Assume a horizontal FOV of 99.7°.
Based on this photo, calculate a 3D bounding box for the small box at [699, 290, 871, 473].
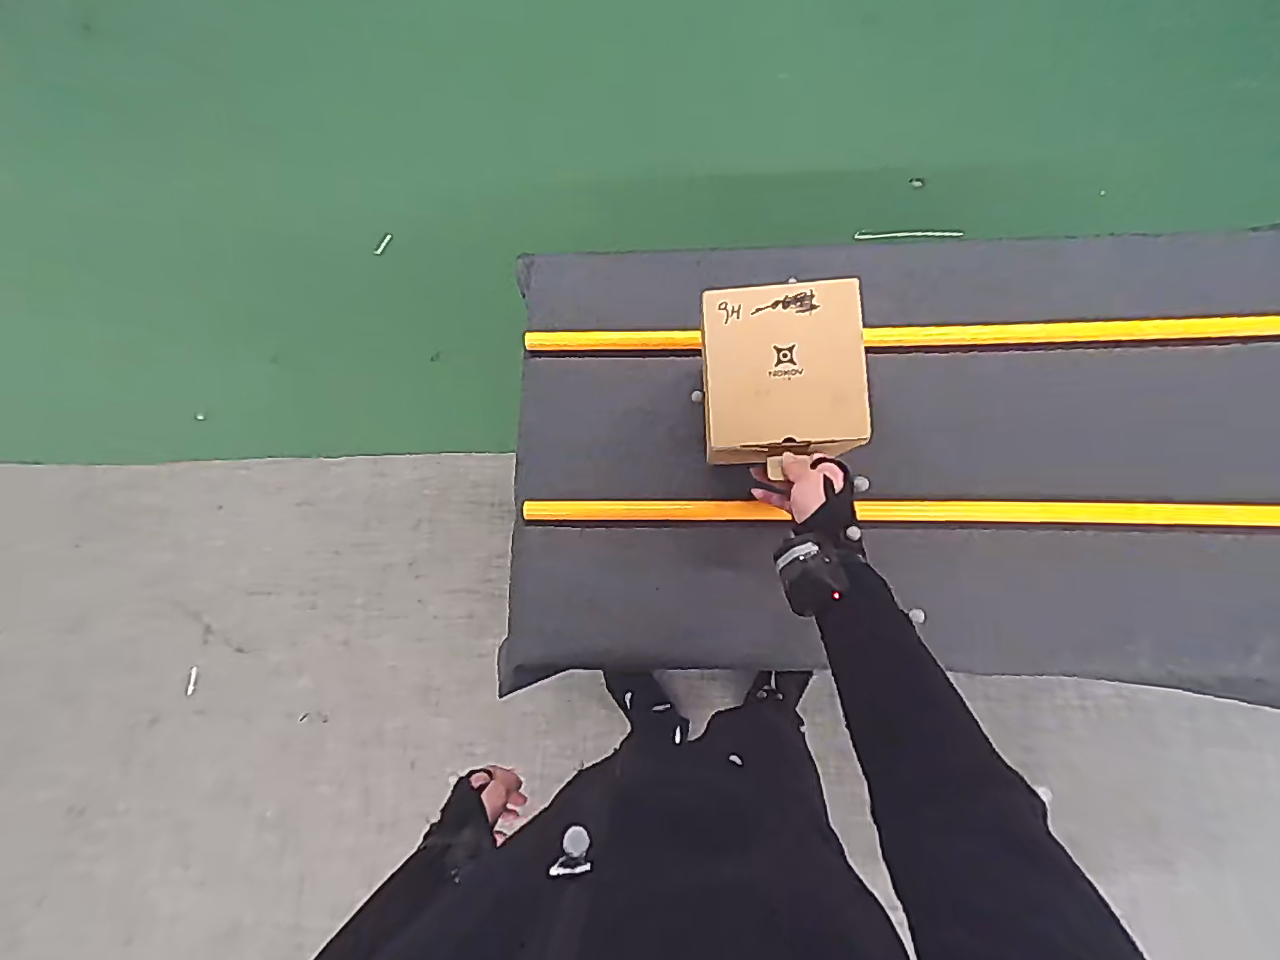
[{"bbox_3d":[0.167,-0.103,0.658,0.168,0.176,0.179,-7,85,8],"label":"small box"}]
